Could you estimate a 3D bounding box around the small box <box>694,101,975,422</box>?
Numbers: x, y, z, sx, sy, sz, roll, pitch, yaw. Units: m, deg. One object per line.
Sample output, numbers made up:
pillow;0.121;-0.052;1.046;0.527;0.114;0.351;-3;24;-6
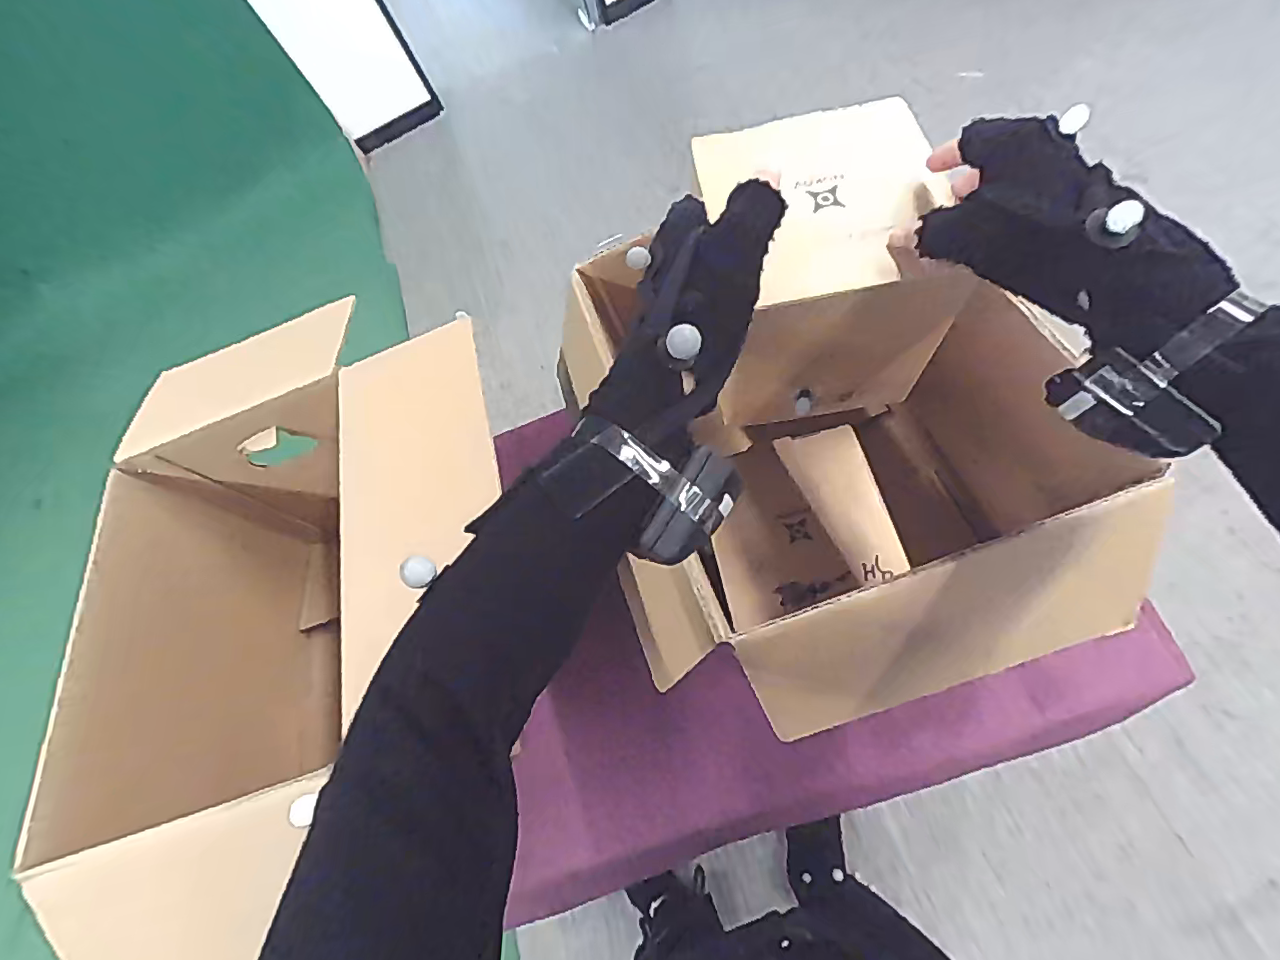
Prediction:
small box;0.139;-0.173;0.463;0.168;0.176;0.179;-9;66;5
